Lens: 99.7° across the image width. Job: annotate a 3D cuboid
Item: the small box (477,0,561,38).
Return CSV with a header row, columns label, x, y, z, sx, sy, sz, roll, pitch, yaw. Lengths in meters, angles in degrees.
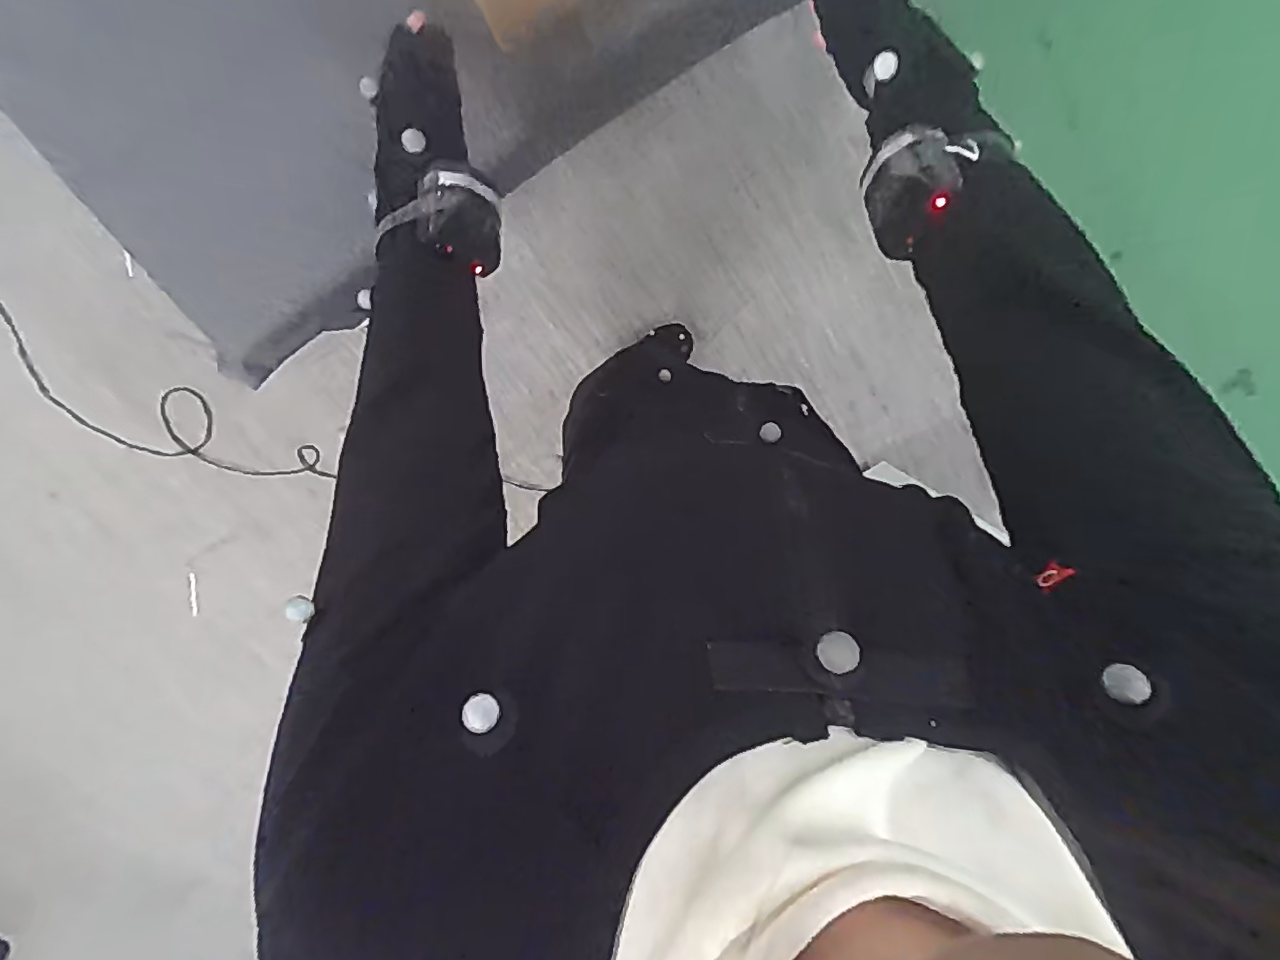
label,x,y,z,sx,sy,sz,roll,pitch,yaw
small box,-0.103,-0.517,0.433,0.179,0.176,0.168,-30,106,9
